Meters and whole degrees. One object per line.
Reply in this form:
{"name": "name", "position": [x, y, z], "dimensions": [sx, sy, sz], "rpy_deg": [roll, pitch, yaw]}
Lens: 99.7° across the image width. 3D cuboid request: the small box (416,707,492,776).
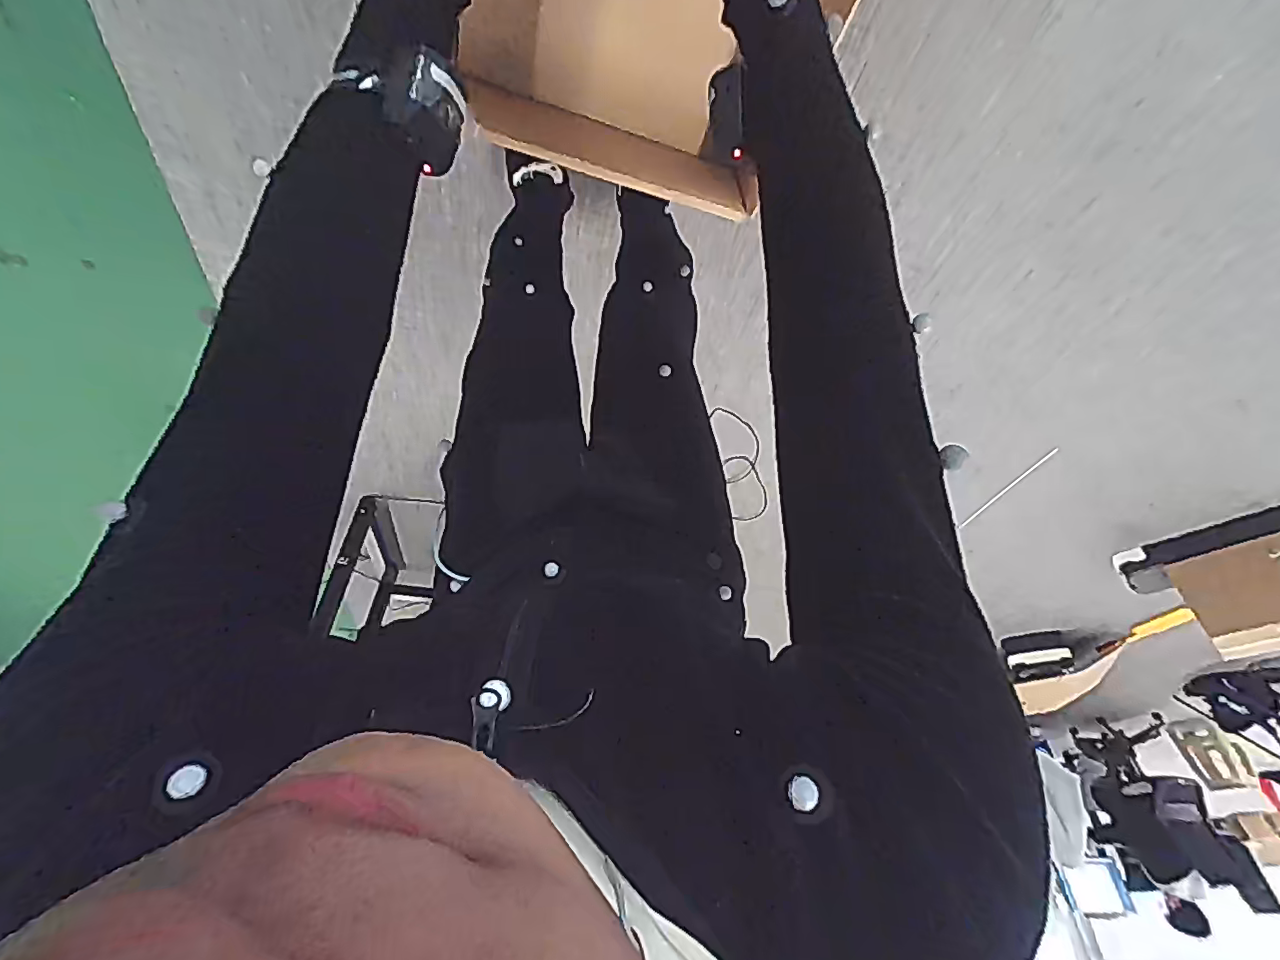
{"name": "small box", "position": [-0.575, 0.819, 1.694], "dimensions": [0.179, 0.176, 0.168], "rpy_deg": [4, 144, -4]}
